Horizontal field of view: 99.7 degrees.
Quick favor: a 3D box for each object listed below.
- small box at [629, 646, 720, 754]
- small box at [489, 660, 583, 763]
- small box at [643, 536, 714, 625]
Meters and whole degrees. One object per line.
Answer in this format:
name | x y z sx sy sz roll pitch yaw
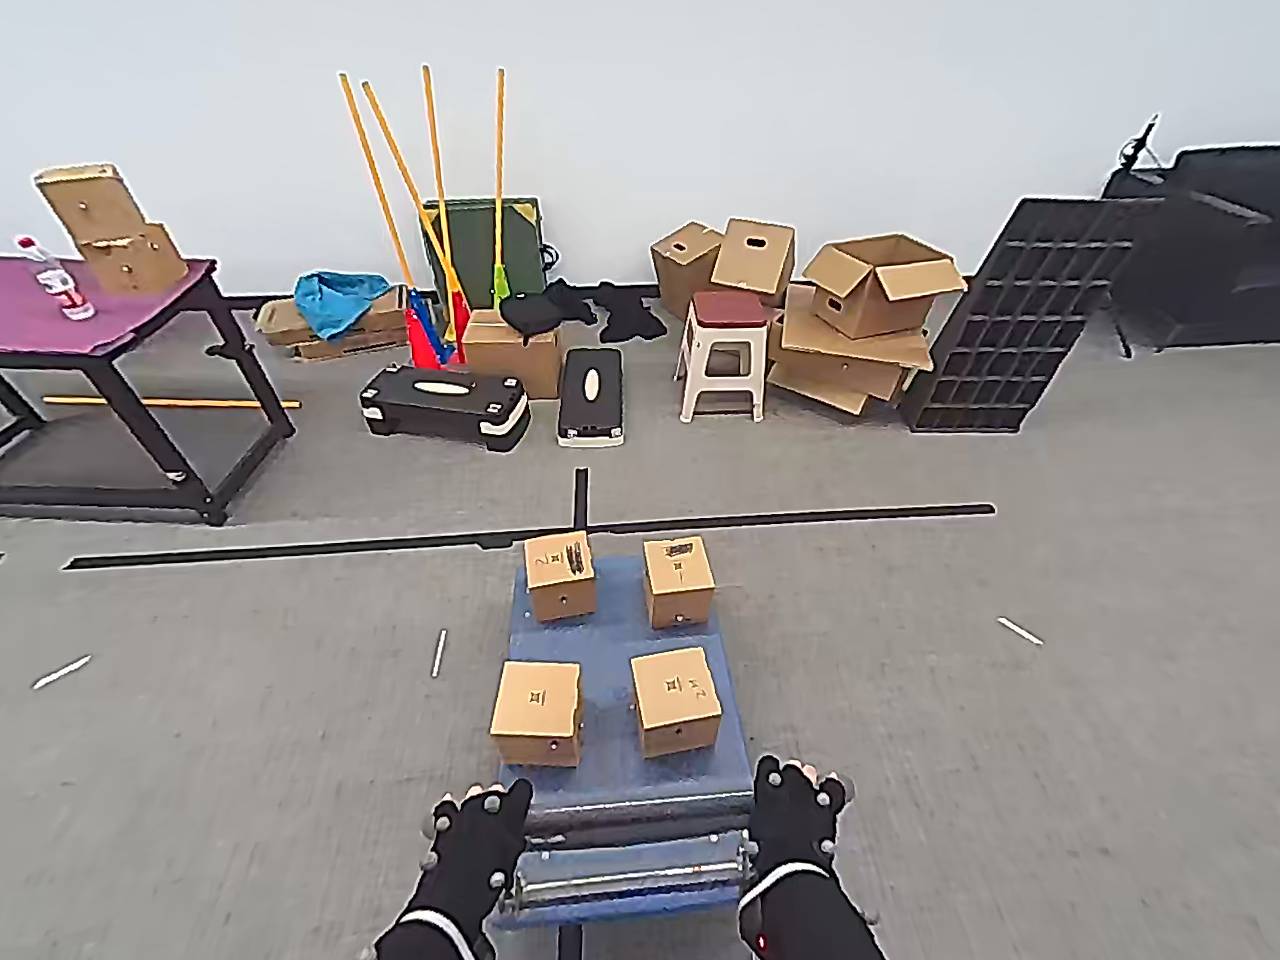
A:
small box | 0.075 0.513 1.255 0.179 0.176 0.168 -7 44 -8
small box | -0.228 0.529 1.233 0.179 0.176 0.168 2 44 -1
small box | 0.099 0.279 1.500 0.168 0.176 0.179 -5 45 -6
